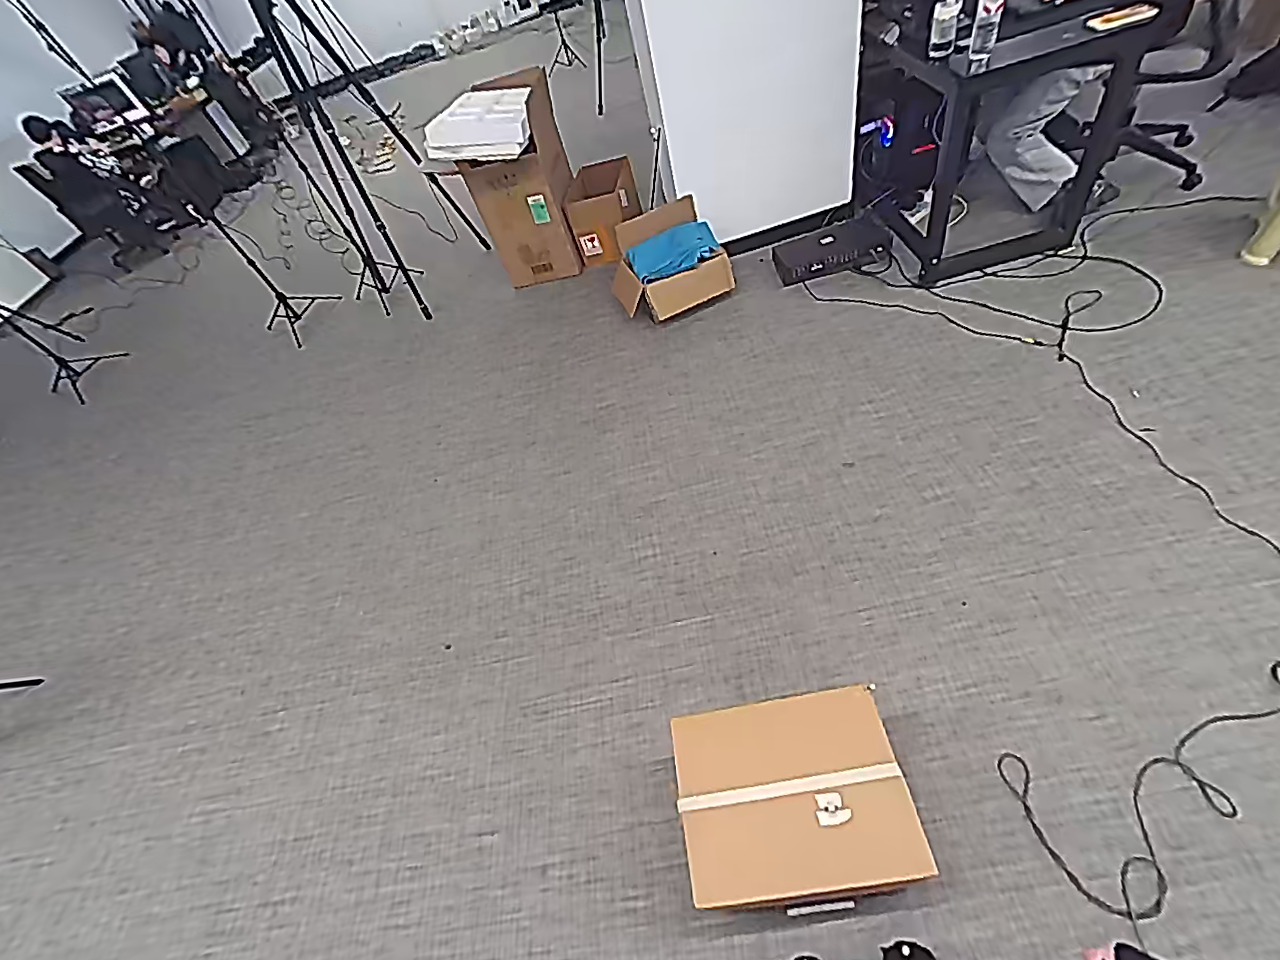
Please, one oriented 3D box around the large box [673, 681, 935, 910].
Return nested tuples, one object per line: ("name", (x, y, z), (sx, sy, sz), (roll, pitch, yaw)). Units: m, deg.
("large box", (0.309, 0.654, 1.108), (0.408, 0.320, 0.320), (-13, 50, 6))
